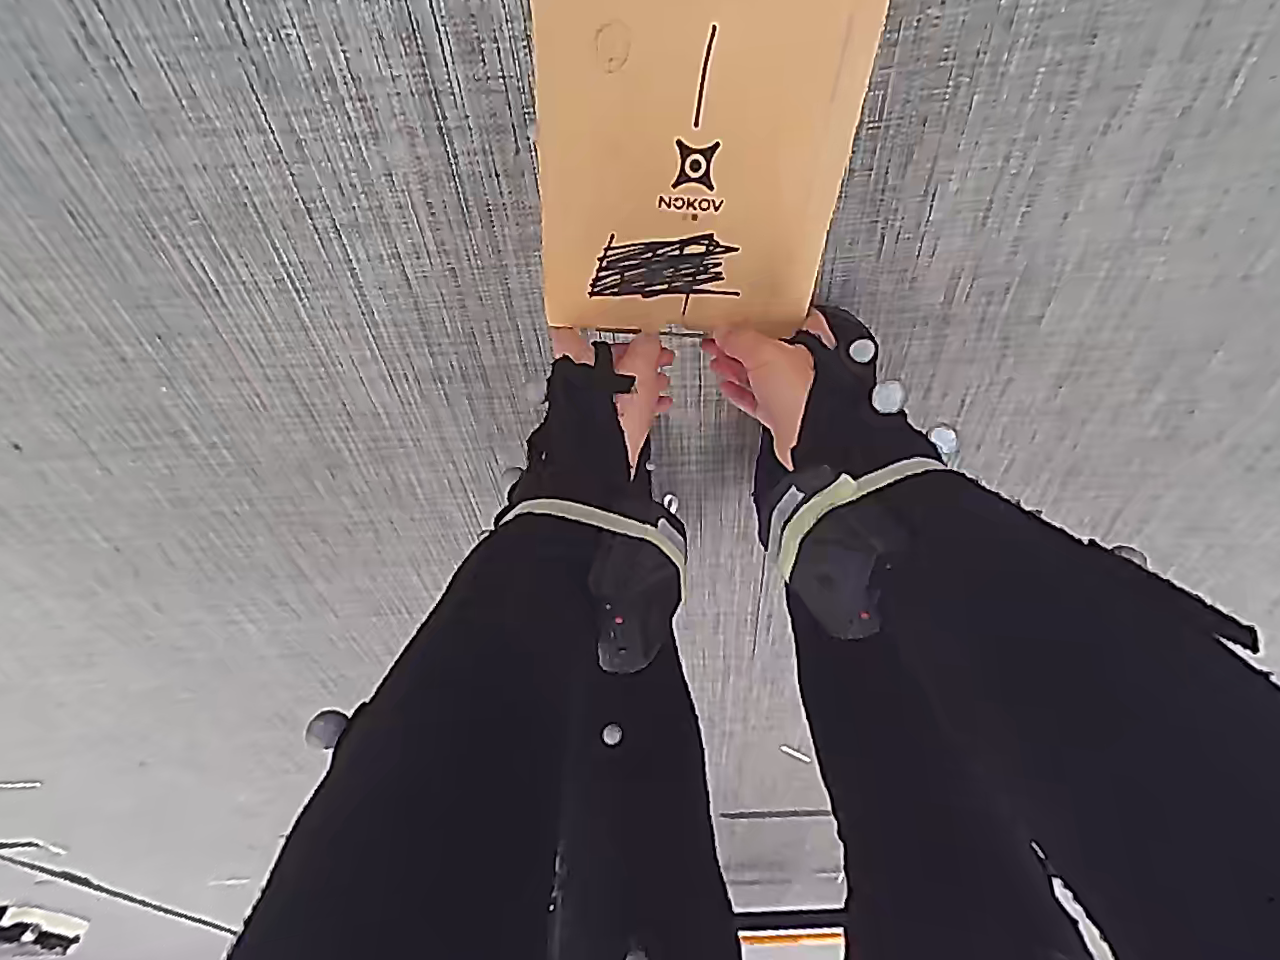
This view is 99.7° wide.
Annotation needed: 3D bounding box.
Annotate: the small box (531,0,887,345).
[{"bbox_3d":[0.026,-0.210,0.355,0.168,0.176,0.179,2,130,-3],"label":"small box"}]
